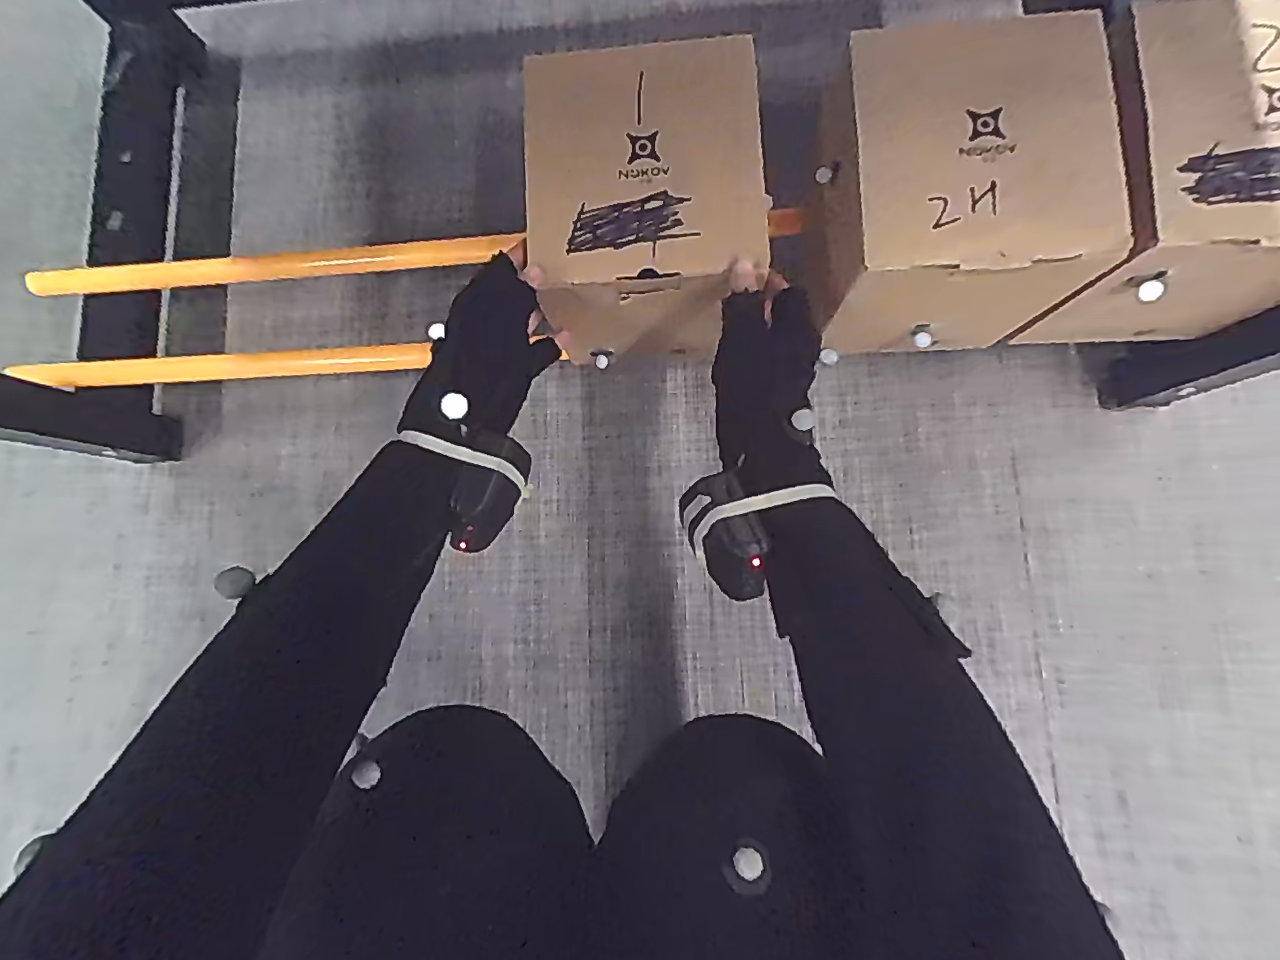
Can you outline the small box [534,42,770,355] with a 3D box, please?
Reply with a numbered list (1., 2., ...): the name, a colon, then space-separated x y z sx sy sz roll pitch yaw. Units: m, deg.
1. small box: 0.012 -0.214 0.461 0.168 0.176 0.179 -3 82 3
